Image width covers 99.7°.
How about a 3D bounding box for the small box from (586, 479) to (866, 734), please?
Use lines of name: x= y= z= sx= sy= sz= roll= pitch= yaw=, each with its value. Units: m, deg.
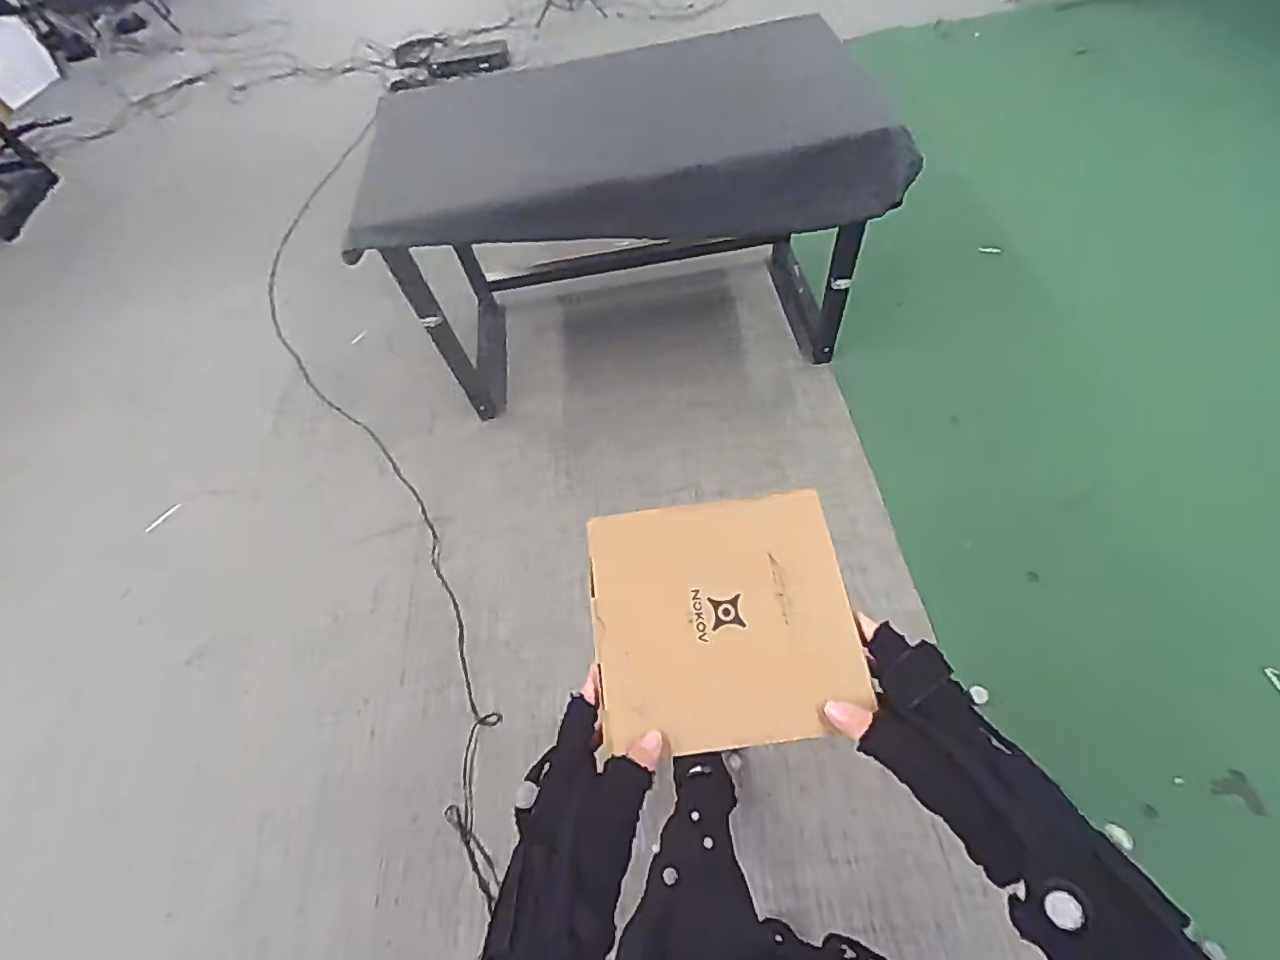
small box: x=0.057 y=0.116 z=0.458 sx=0.179 sy=0.176 sz=0.168 roll=-8 pitch=66 yaw=-2
